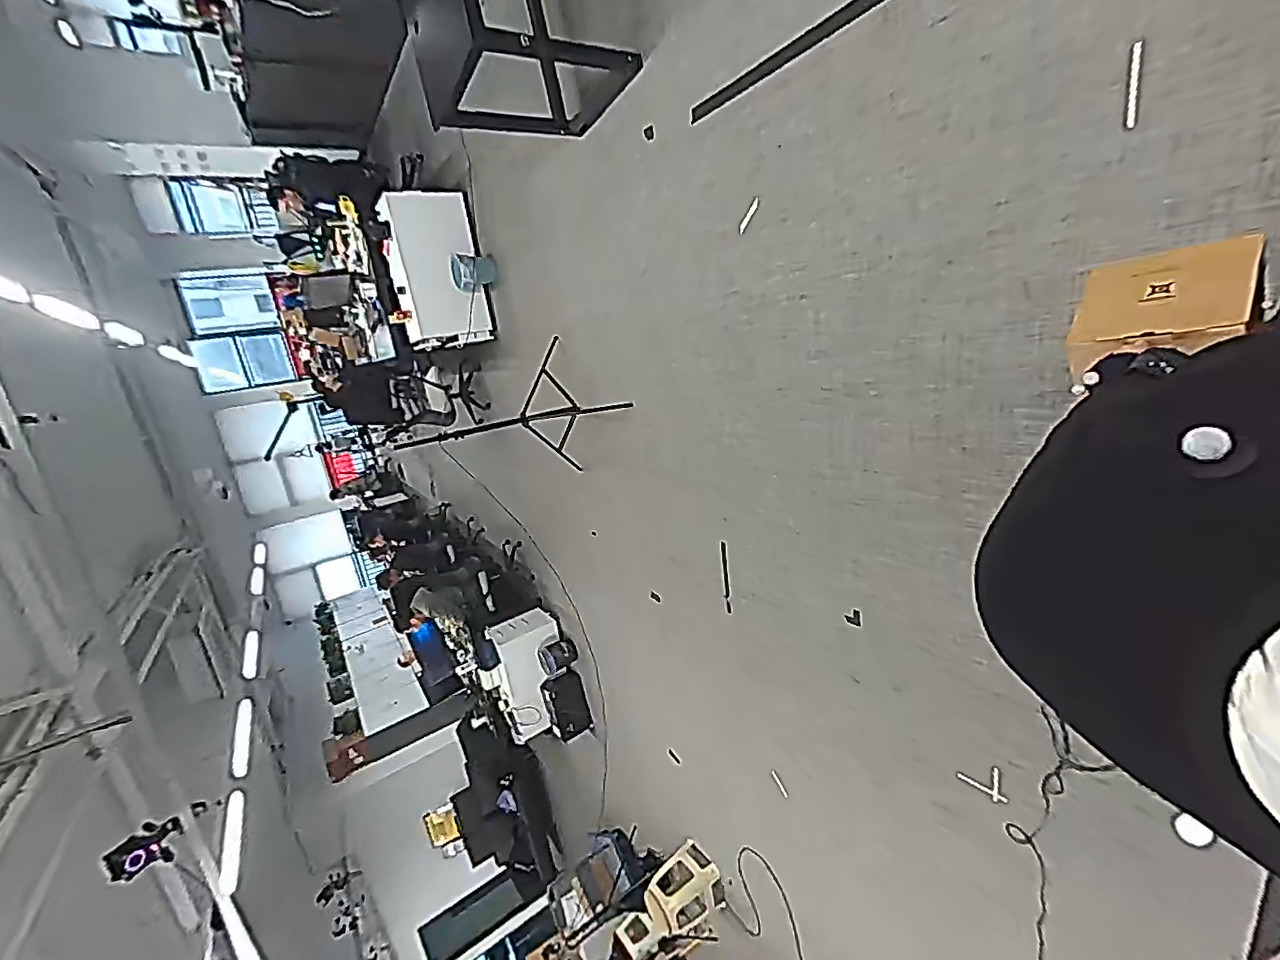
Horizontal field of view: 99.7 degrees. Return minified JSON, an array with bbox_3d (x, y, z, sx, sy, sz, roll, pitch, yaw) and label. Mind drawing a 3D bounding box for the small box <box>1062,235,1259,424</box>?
[{"bbox_3d":[0.711,-0.190,0.737,0.168,0.179,0.176,6,142,51],"label":"small box"}]
